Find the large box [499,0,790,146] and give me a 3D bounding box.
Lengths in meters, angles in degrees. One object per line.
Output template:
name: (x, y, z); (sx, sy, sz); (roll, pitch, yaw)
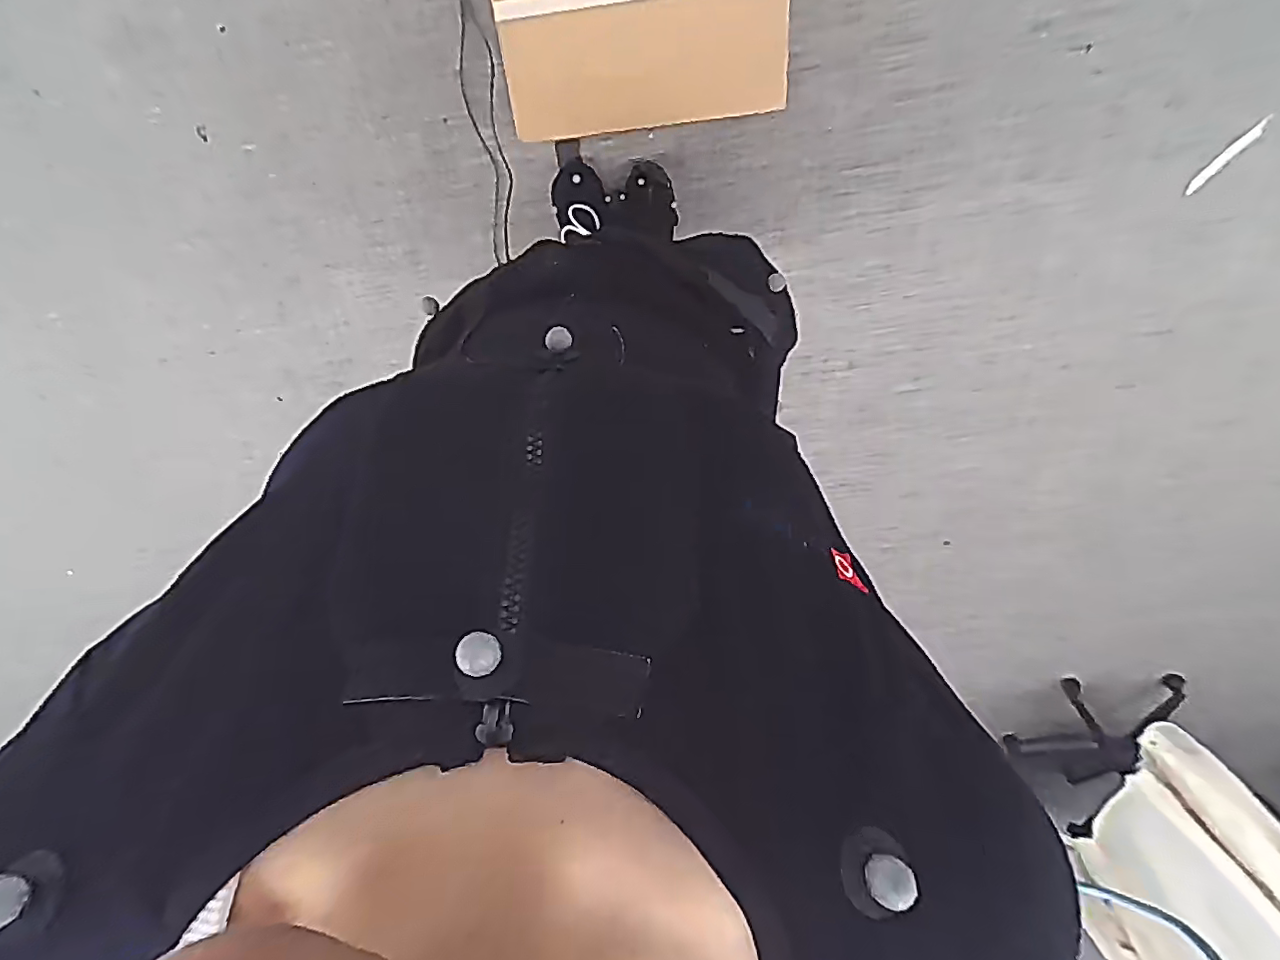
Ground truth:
large box: (0.004, -0.742, 0.860); (0.408, 0.320, 0.320); (-5, 124, 4)
